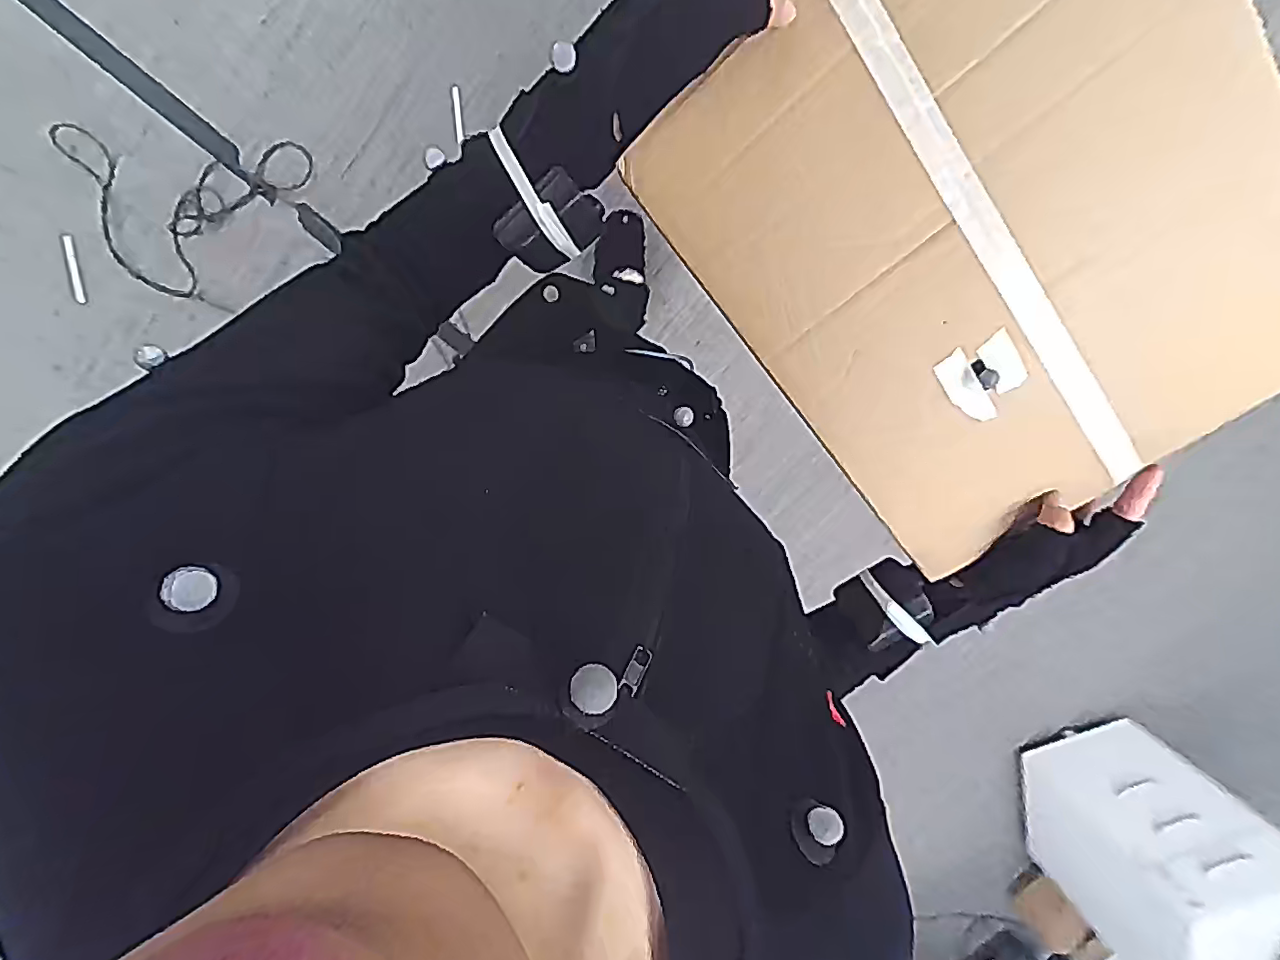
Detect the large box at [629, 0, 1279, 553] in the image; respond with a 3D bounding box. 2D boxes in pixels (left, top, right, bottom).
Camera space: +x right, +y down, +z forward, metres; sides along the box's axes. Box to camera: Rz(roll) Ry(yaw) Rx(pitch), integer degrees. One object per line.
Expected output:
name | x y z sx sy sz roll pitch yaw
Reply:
large box | 0.242 -0.222 0.496 0.320 0.320 0.408 -36 107 20
